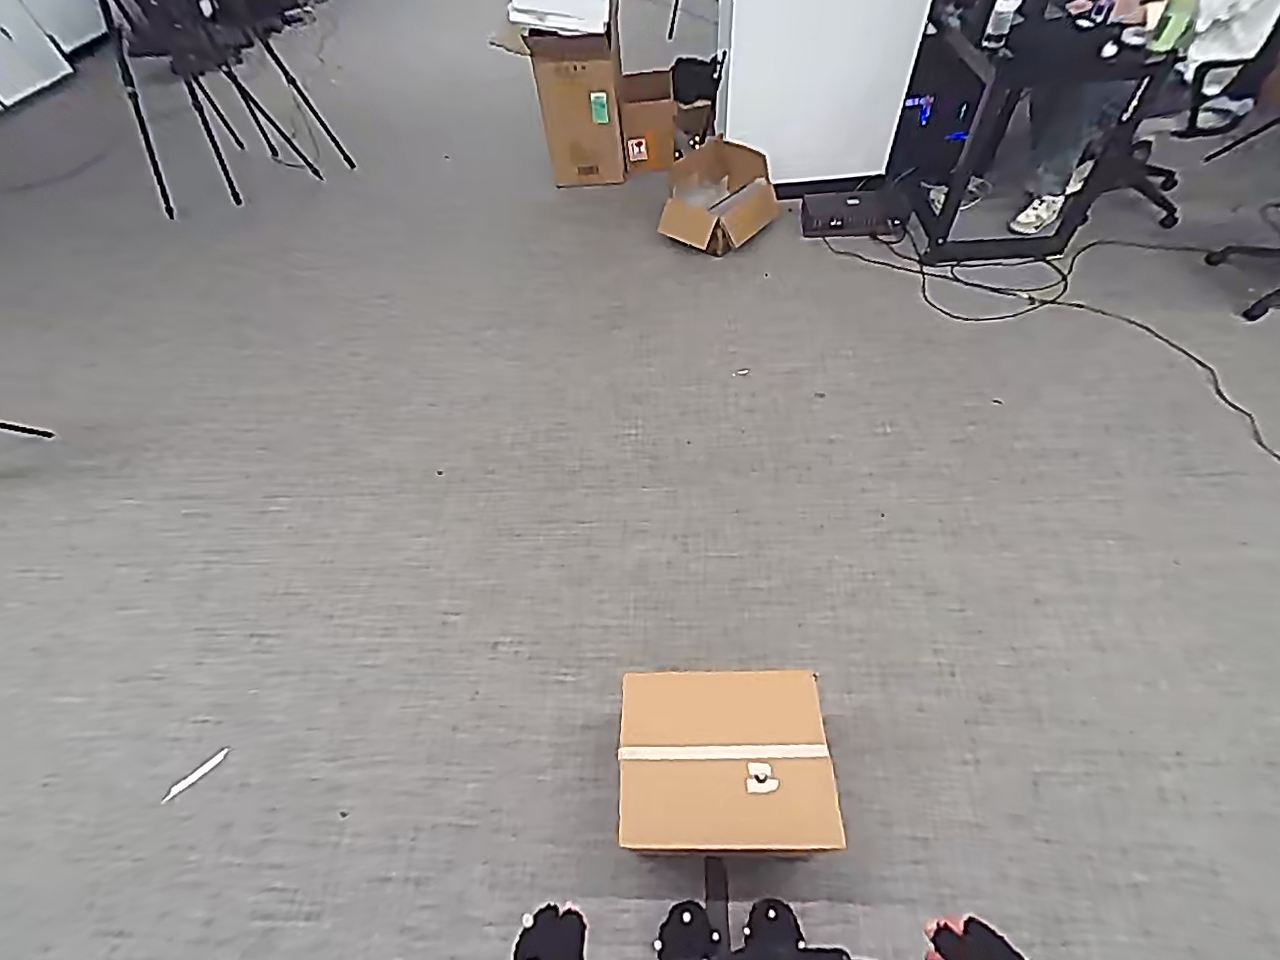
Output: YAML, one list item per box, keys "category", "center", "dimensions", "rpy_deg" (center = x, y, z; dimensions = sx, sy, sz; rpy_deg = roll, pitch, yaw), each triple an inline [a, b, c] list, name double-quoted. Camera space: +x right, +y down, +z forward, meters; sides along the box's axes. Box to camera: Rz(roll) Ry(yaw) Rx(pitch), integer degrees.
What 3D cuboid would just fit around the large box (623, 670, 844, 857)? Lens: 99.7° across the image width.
- category: "large box"
  center: [0.172, 0.620, 1.172]
  dimensions: [0.408, 0.320, 0.320]
  rpy_deg: [-2, 54, 3]
